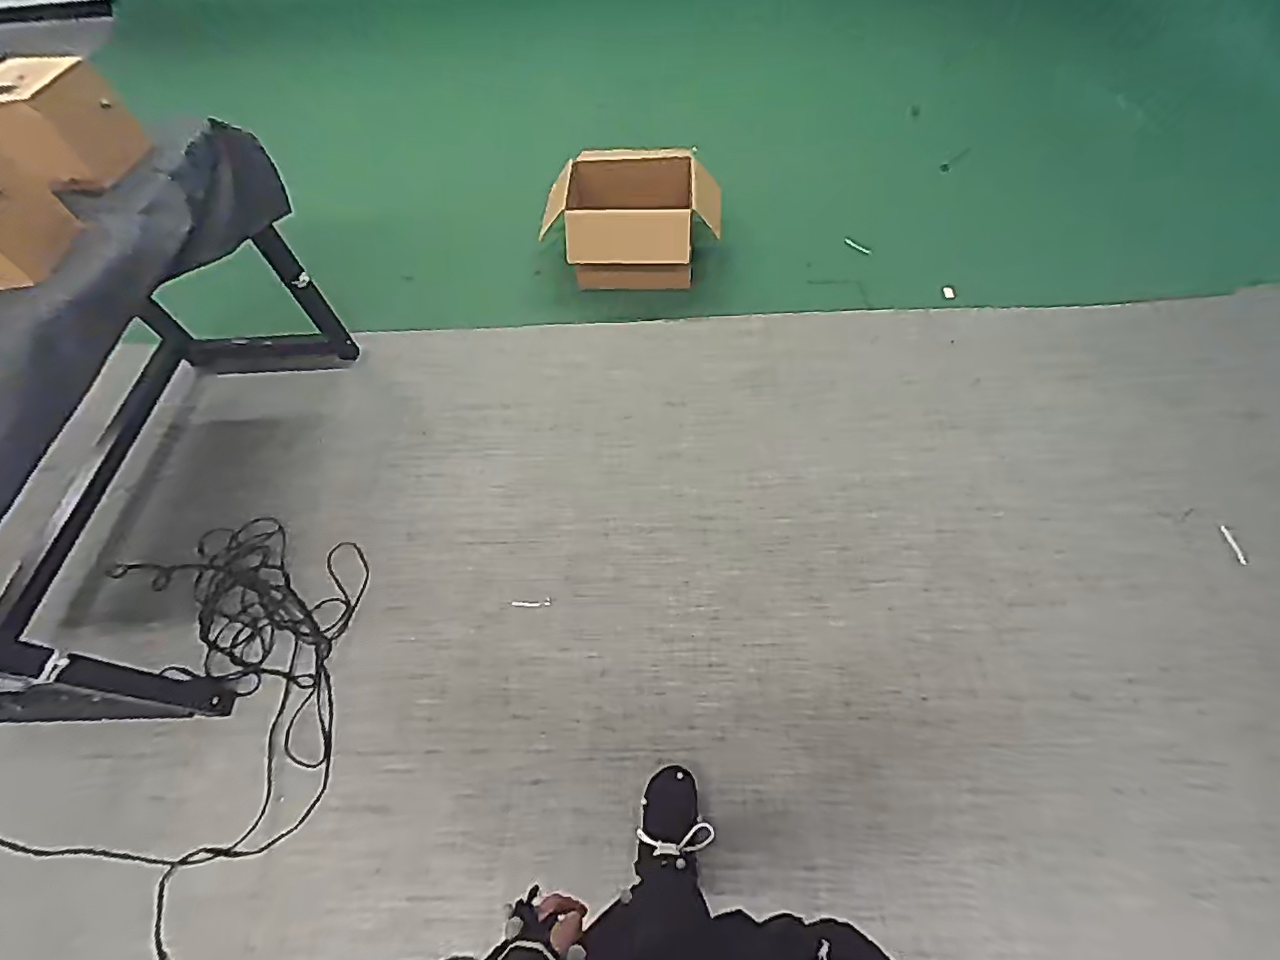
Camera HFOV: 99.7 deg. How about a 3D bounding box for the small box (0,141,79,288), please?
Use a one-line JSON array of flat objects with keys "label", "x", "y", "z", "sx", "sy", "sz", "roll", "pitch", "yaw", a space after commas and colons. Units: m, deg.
[{"label": "small box", "x": -1.150, "y": -0.454, "z": 0.934, "sx": 0.168, "sy": 0.176, "sz": 0.179, "roll": -4, "pitch": 60, "yaw": 1}]
